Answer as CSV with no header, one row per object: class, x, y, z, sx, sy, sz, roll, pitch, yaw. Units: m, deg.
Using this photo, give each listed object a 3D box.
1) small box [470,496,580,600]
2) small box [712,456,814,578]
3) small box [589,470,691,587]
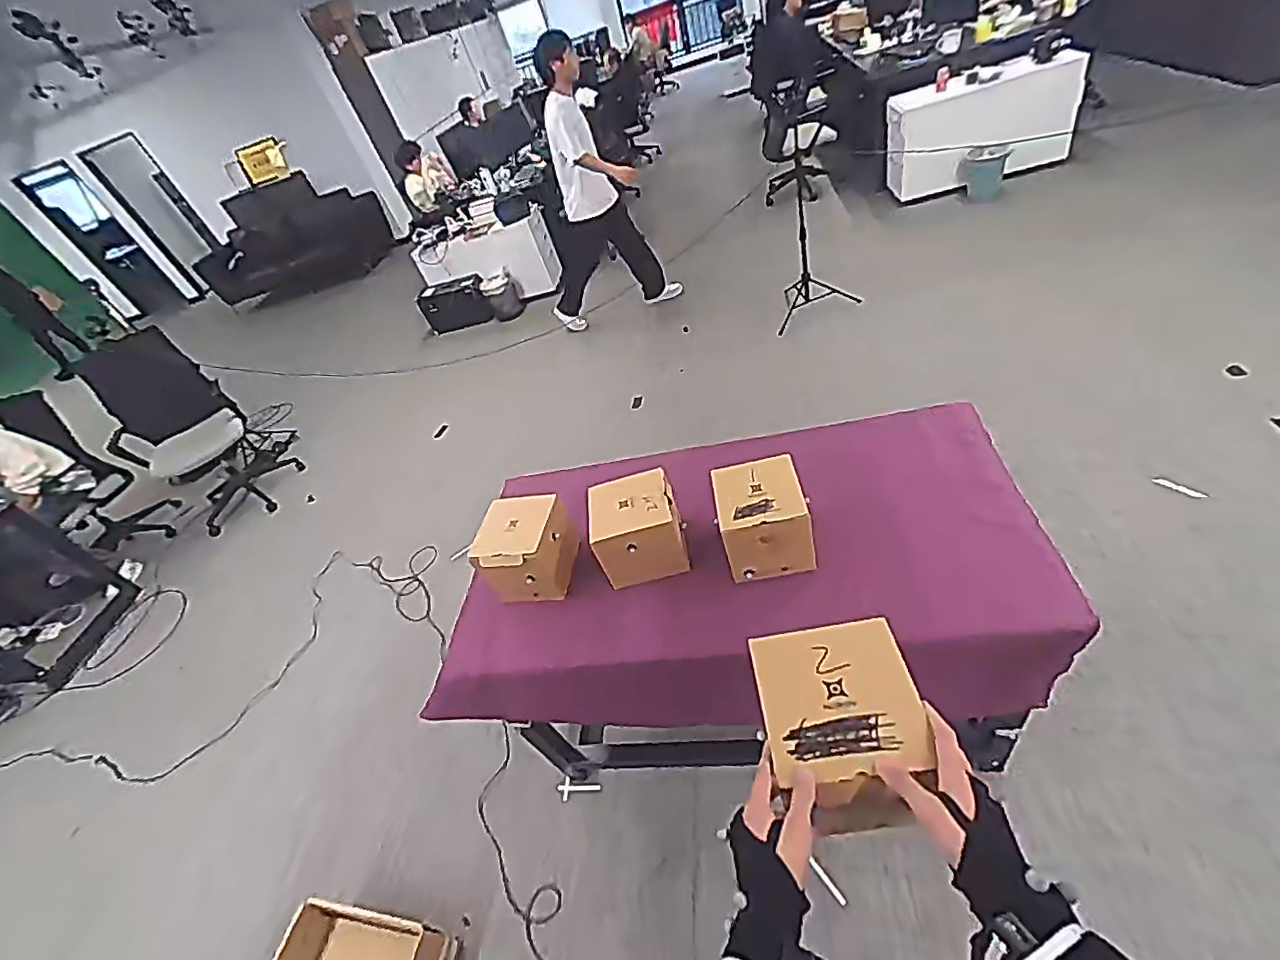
small box,-0.251,0.161,1.235,0.168,0.176,0.179,-5,43,17
small box,0.251,0.082,1.104,0.168,0.176,0.179,-12,41,10
small box,-0.001,0.111,1.180,0.179,0.176,0.168,-15,42,7
